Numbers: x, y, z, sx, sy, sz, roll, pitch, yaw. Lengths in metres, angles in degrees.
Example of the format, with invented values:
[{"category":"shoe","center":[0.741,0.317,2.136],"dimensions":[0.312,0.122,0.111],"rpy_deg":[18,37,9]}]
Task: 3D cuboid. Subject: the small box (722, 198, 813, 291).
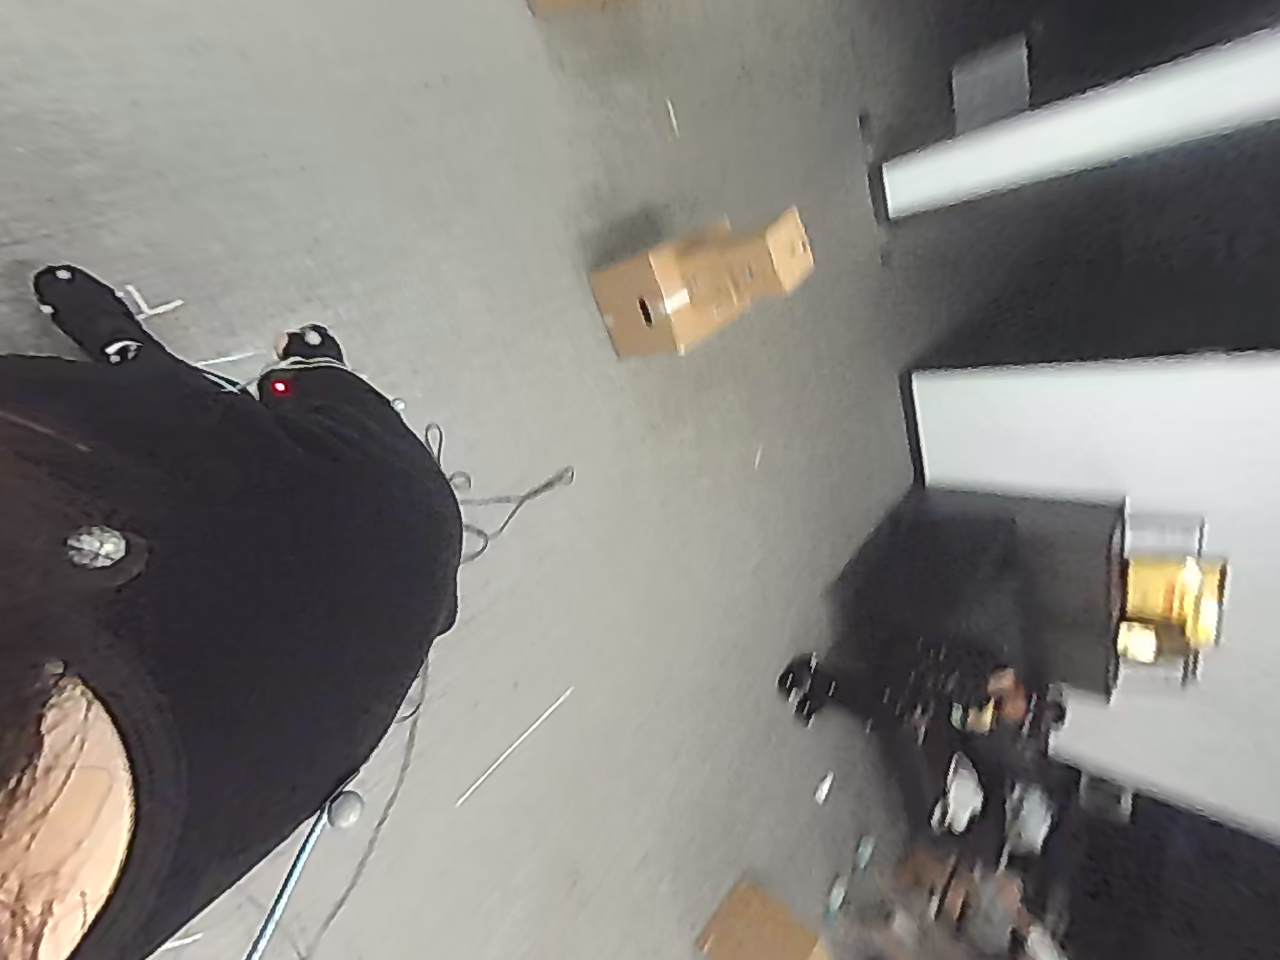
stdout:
[{"category":"small box","center":[0.355,-0.660,1.536],"dimensions":[0.179,0.176,0.168],"rpy_deg":[-47,123,-26]}]
